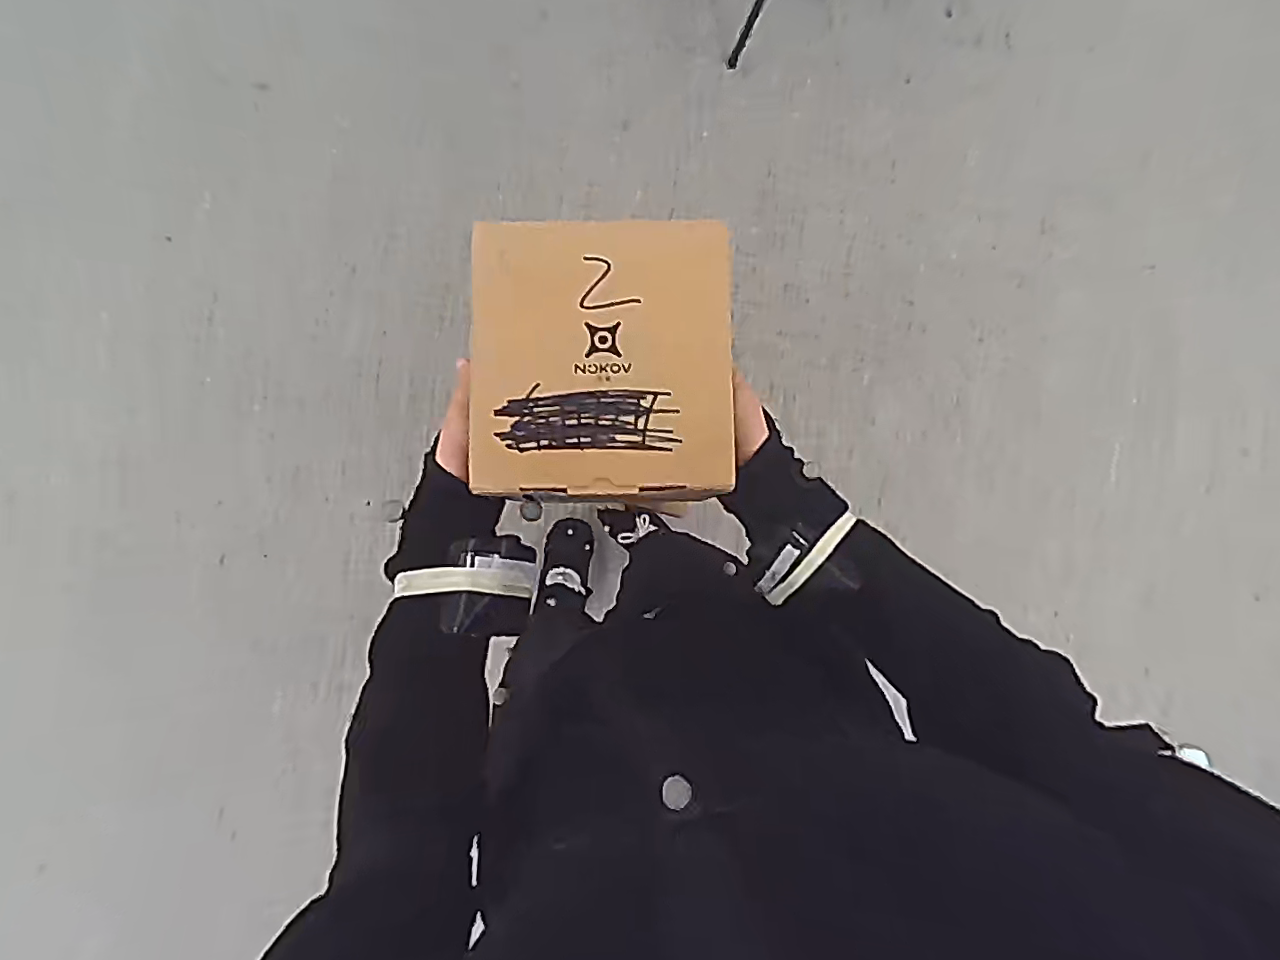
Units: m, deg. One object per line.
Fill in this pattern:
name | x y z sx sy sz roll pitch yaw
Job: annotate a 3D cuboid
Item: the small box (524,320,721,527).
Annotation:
small box | -0.020 -0.059 0.615 0.168 0.176 0.179 13 92 -3
